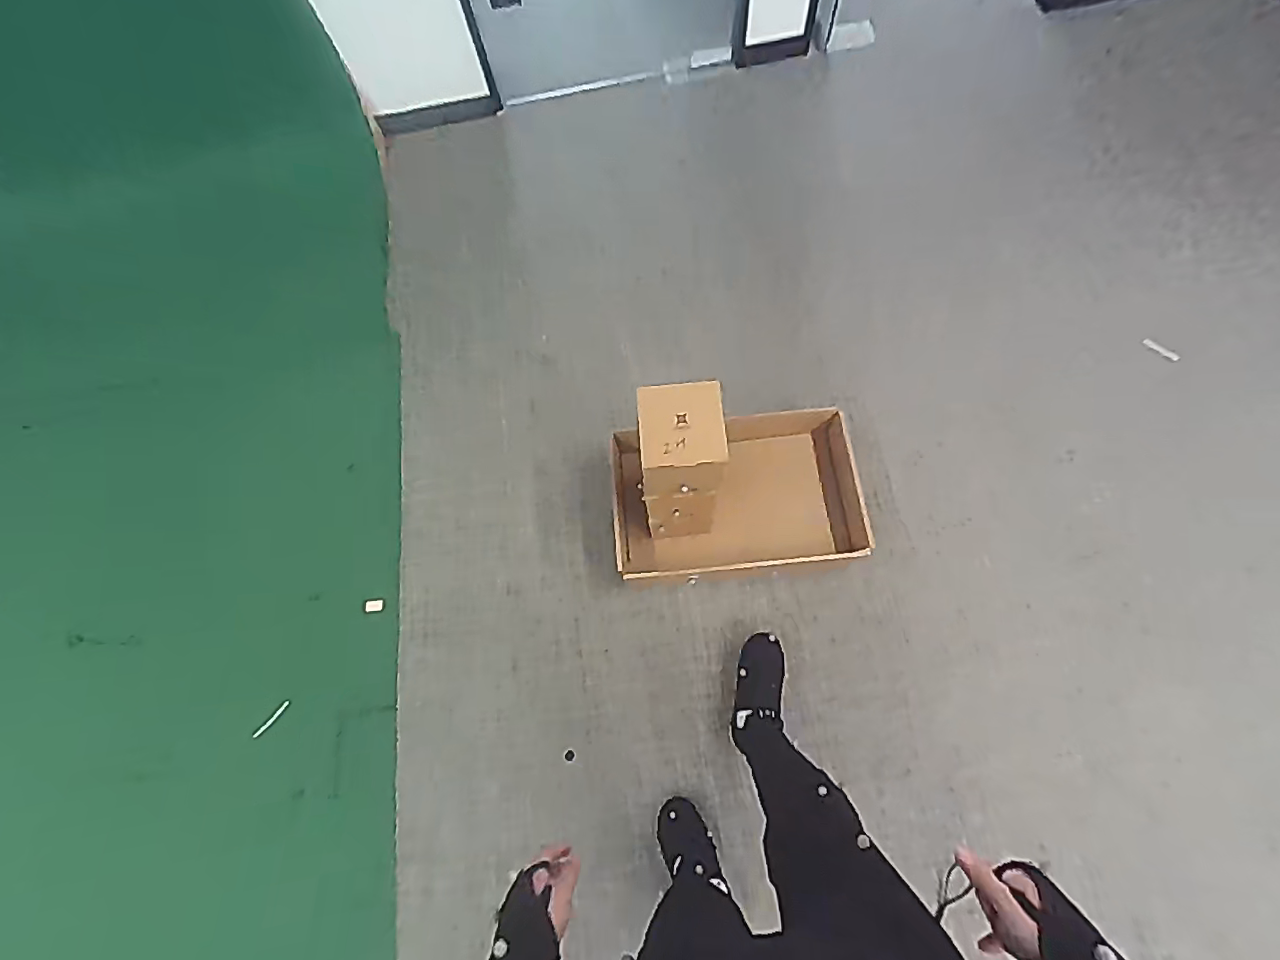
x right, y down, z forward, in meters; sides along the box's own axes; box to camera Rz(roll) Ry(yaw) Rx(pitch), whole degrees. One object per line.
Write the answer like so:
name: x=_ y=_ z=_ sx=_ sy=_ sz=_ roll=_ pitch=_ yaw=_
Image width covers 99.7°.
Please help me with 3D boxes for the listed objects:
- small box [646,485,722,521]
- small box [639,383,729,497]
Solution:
small box: x=0.095 y=-0.015 z=1.261 sx=0.168 sy=0.176 sz=0.179 roll=-5 pitch=69 yaw=2
small box: x=0.086 y=-0.078 z=1.109 sx=0.168 sy=0.176 sz=0.179 roll=-5 pitch=69 yaw=3
